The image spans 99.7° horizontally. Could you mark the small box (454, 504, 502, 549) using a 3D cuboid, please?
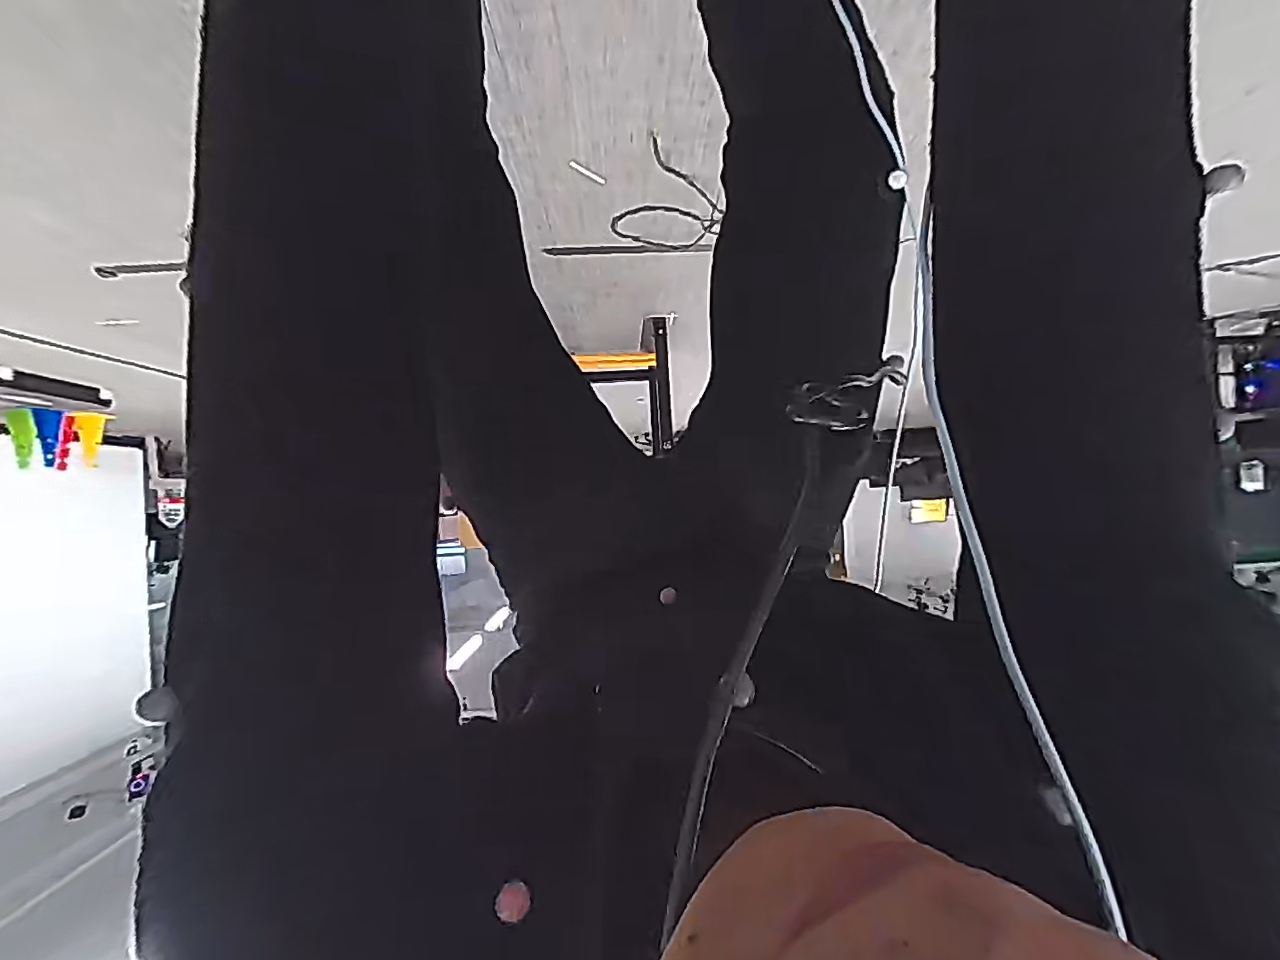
[{"bbox_3d":[-0.698,0.196,2.328,0.168,0.176,0.179,-4,180,-5],"label":"small box"}]
